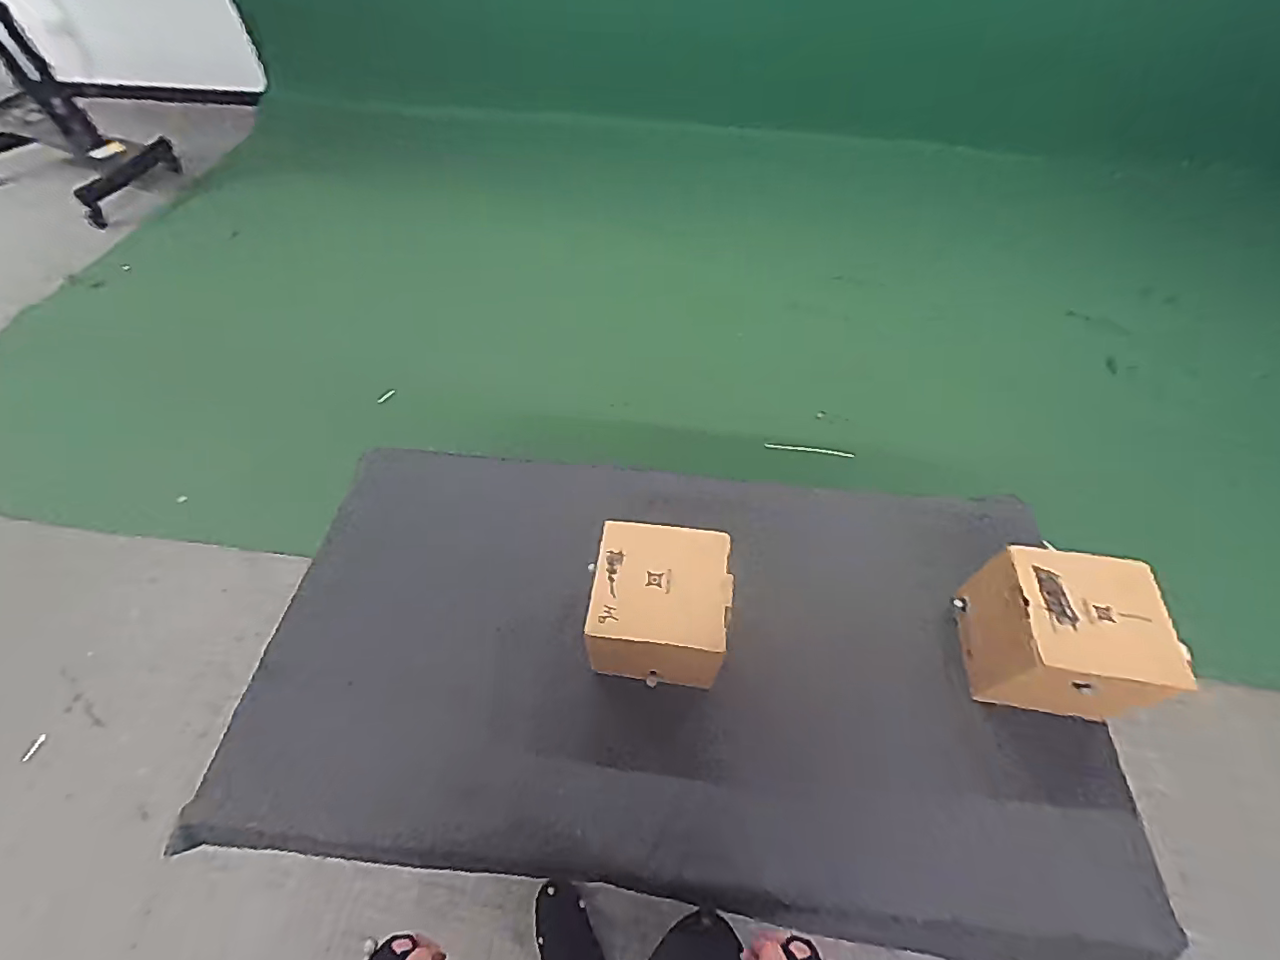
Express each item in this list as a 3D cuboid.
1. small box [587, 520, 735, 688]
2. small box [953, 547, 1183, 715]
[{"bbox_3d":[0.027,0.178,0.751,0.179,0.176,0.168,7,54,1],"label":"small box"},{"bbox_3d":[0.565,0.215,0.752,0.179,0.176,0.168,9,55,2],"label":"small box"}]
